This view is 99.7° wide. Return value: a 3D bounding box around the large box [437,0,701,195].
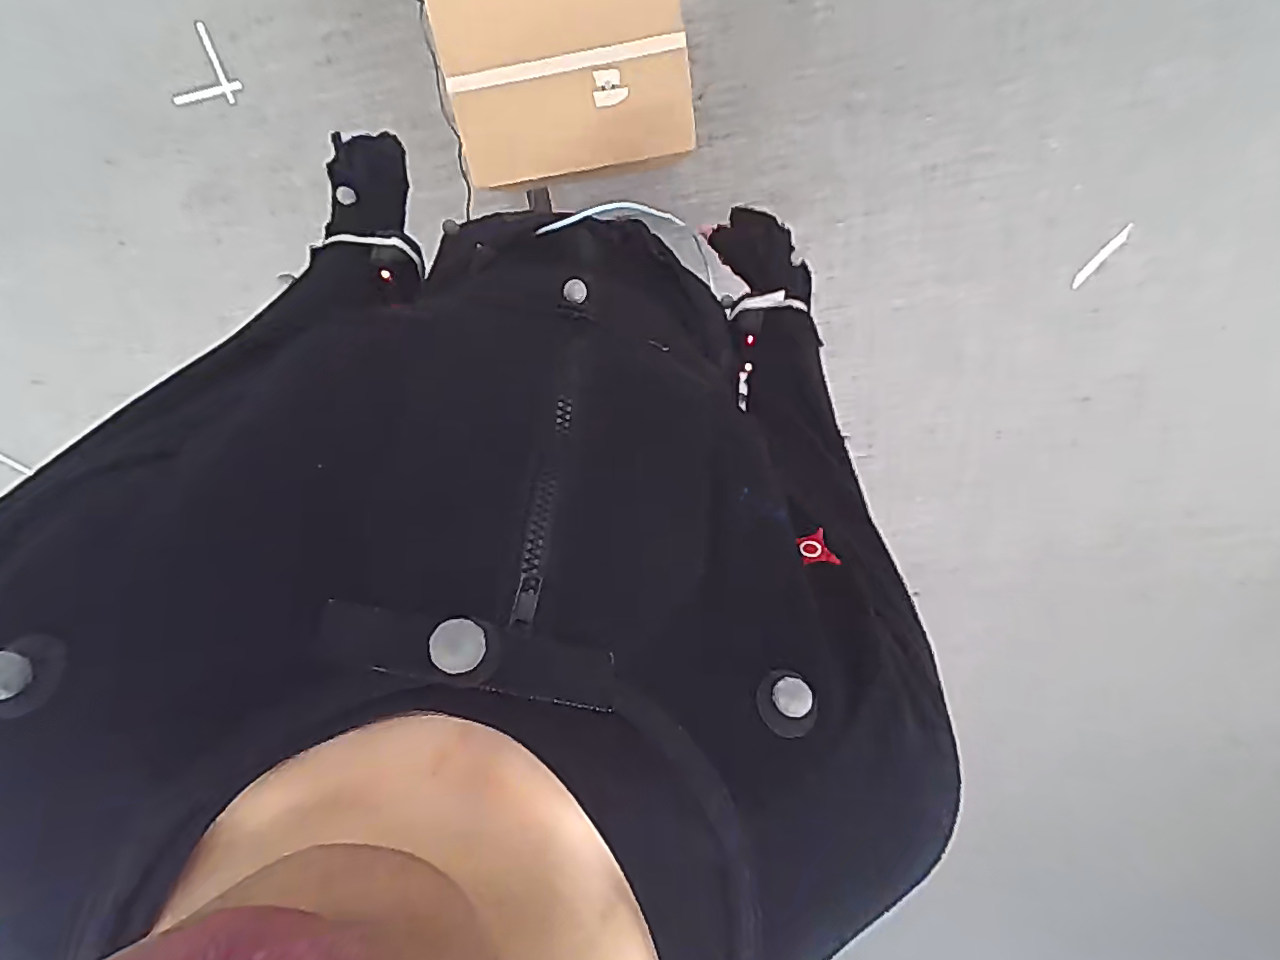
[{"bbox_3d":[-0.116,-0.755,1.035,0.408,0.320,0.320,-9,117,1],"label":"large box"}]
